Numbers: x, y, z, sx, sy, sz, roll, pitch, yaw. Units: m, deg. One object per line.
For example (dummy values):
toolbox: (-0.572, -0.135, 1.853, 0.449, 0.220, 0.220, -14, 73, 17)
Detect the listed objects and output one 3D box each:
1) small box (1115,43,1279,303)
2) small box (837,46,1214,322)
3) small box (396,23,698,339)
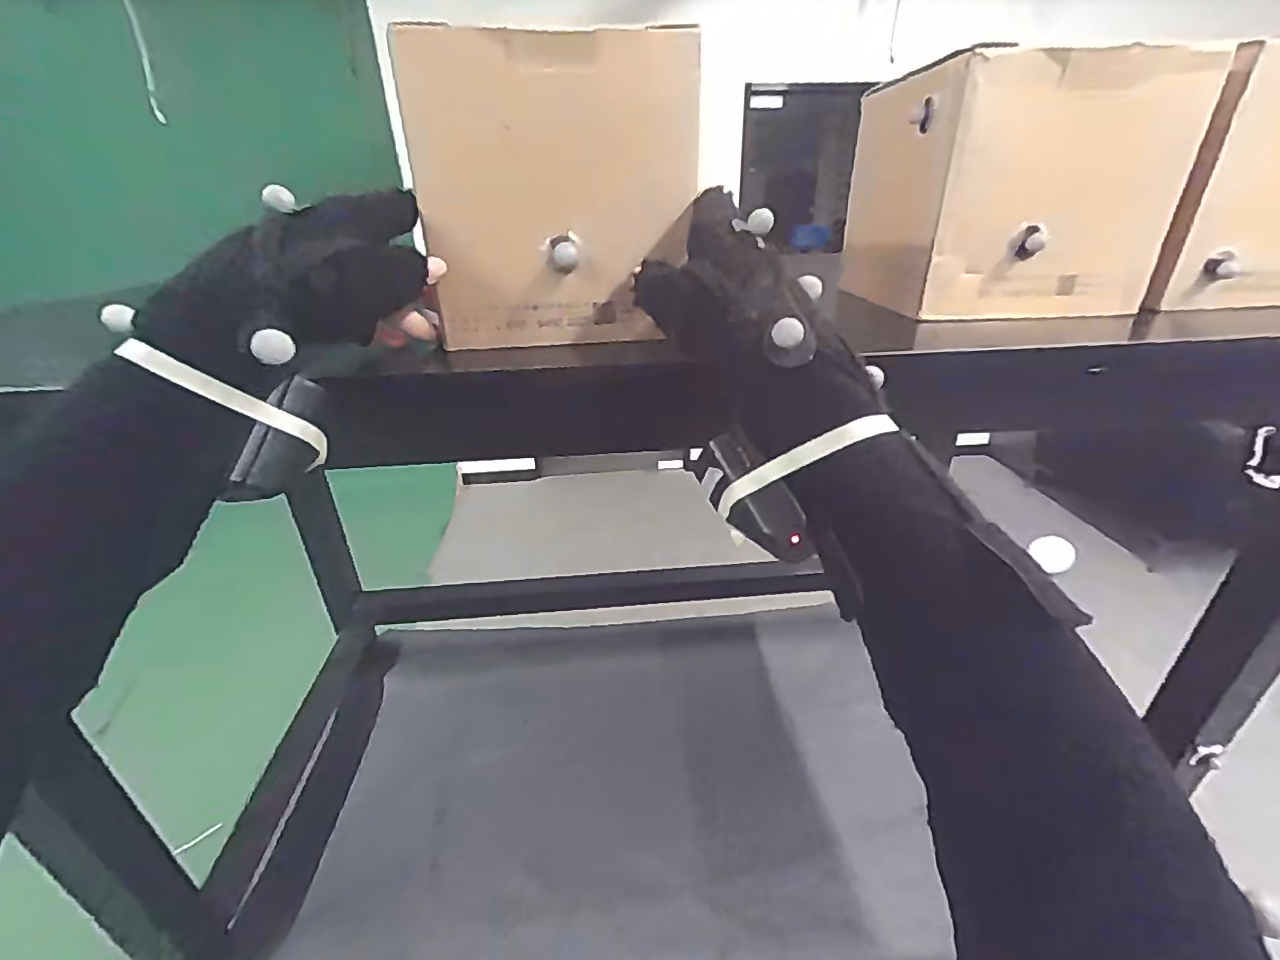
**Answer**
small box: (0.461, -0.245, 0.458, 0.168, 0.176, 0.179, -3, 25, -1)
small box: (0.280, -0.233, 0.449, 0.168, 0.176, 0.179, -1, 27, -1)
small box: (-0.057, -0.204, 0.400, 0.168, 0.176, 0.179, -5, 27, -6)
